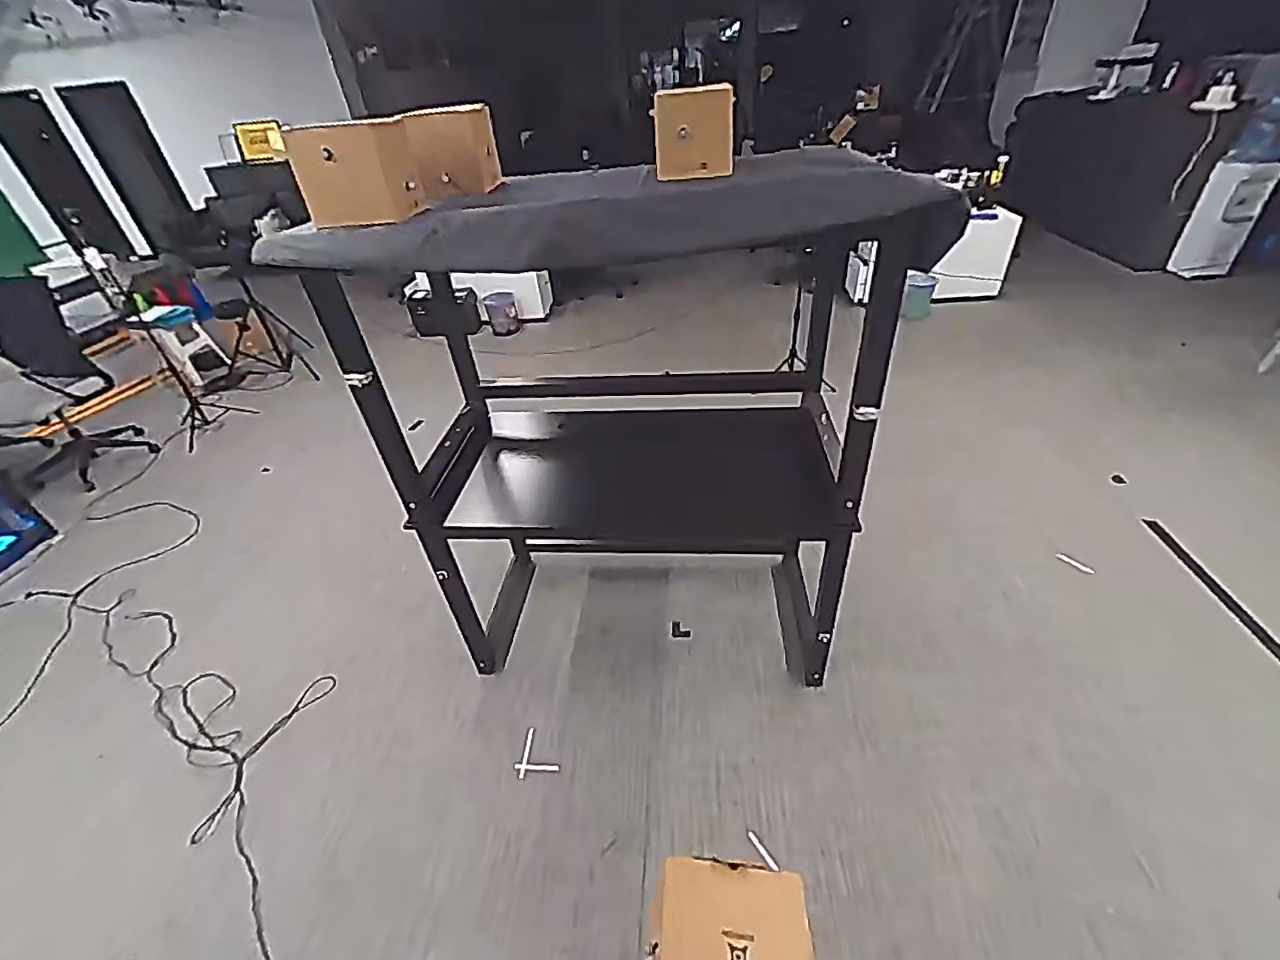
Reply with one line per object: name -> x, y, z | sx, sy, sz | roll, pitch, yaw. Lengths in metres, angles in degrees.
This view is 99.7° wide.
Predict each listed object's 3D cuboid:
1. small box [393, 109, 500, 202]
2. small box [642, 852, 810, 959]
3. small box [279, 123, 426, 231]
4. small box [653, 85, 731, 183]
small box -> -0.452, -0.779, 1.301 | 0.179, 0.176, 0.168 | -1, 38, 4
small box -> 0.090, 0.568, 0.610 | 0.168, 0.176, 0.179 | 8, 30, 1
small box -> -0.560, -0.605, 1.081 | 0.179, 0.176, 0.168 | -2, 36, 3
small box -> 0.122, -0.794, 1.246 | 0.168, 0.176, 0.179 | -2, 37, 6
